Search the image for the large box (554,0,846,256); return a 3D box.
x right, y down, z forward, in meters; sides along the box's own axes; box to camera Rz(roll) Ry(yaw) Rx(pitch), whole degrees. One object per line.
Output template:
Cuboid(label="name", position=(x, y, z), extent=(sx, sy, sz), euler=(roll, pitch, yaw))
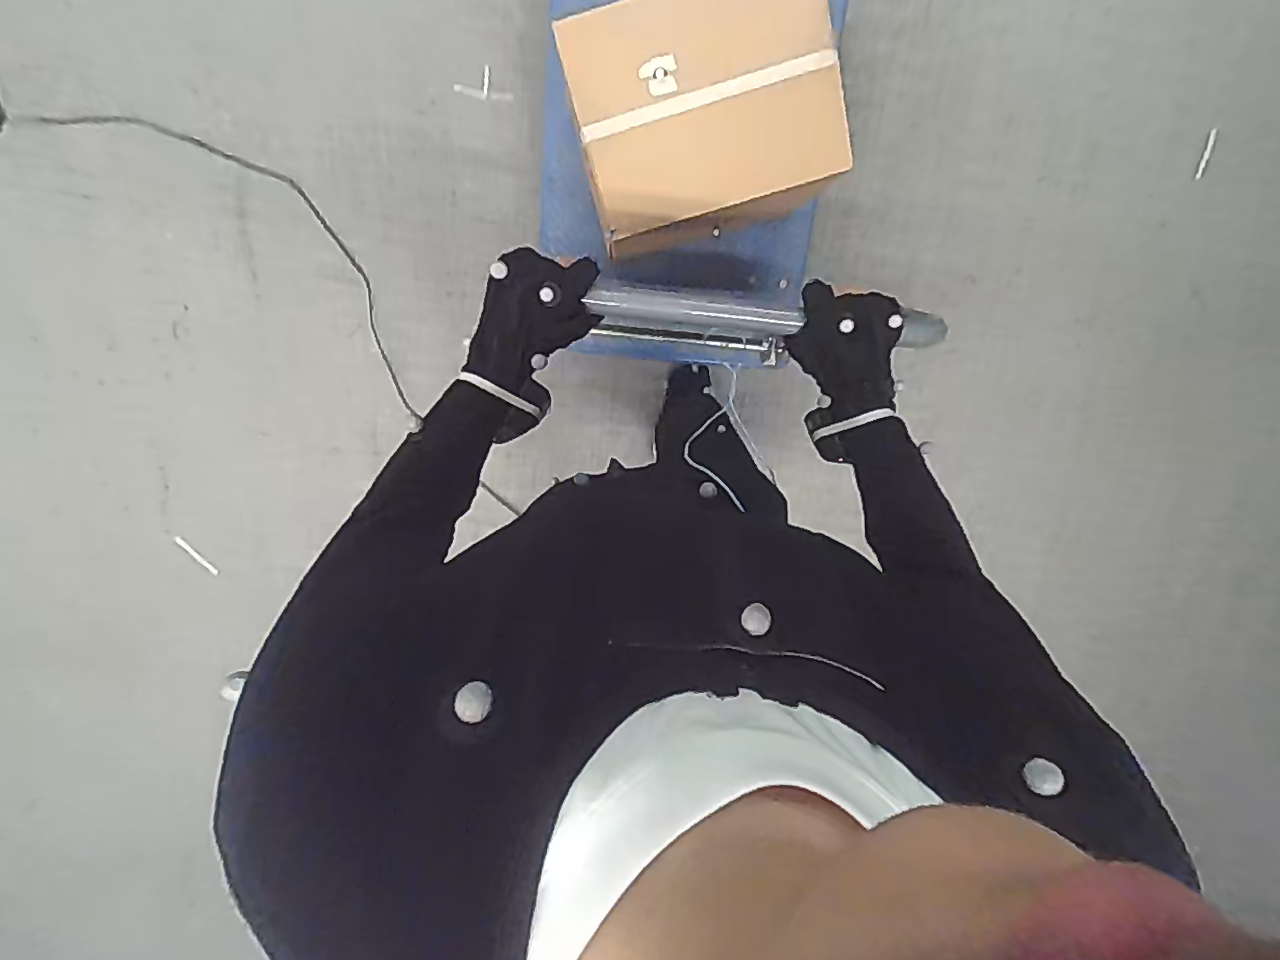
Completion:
Cuboid(label="large box", position=(0.098, -0.638, 0.983), extent=(0.408, 0.320, 0.320), euler=(-16, 104, 3))
